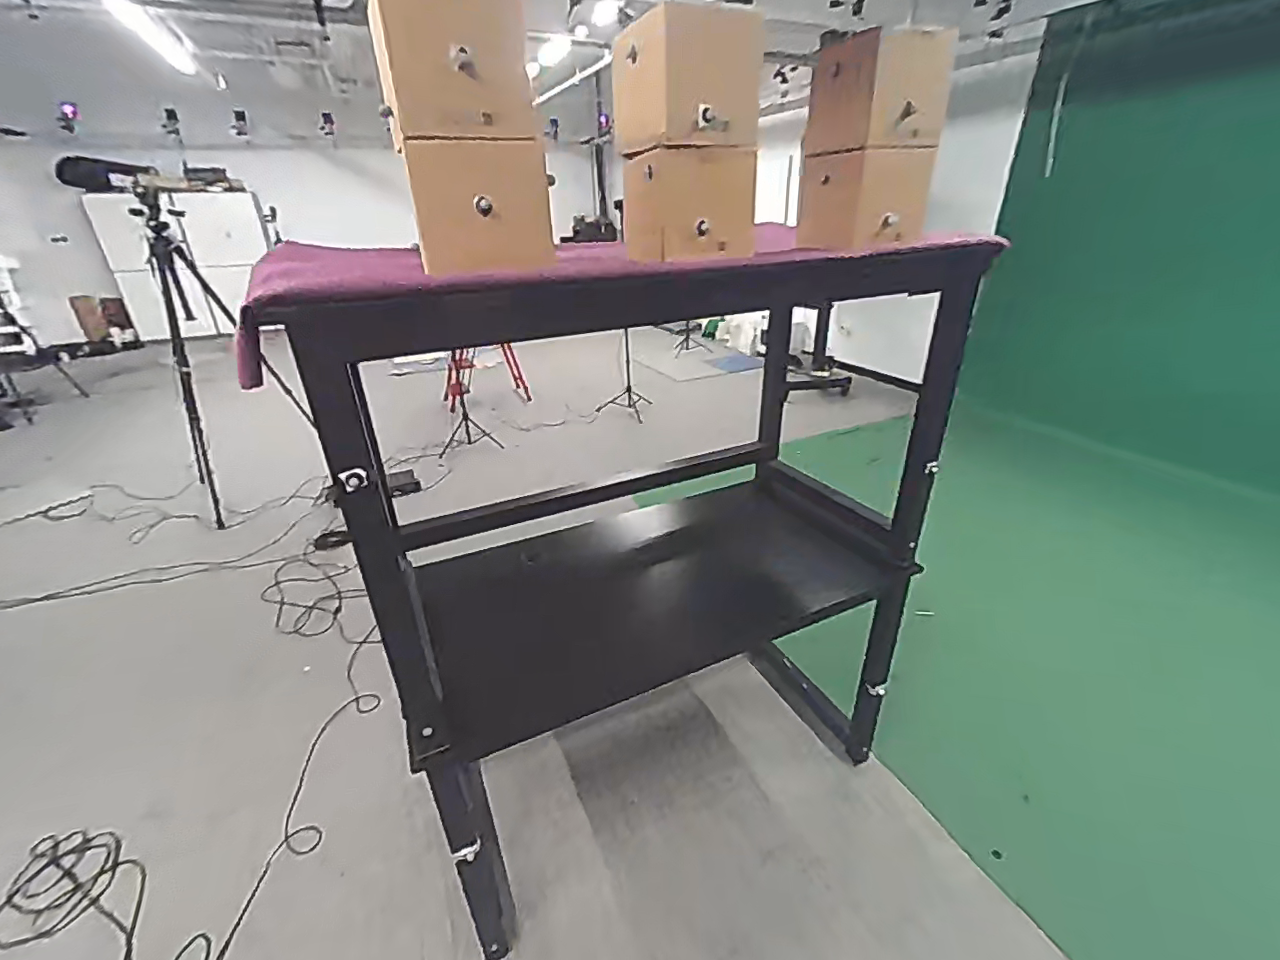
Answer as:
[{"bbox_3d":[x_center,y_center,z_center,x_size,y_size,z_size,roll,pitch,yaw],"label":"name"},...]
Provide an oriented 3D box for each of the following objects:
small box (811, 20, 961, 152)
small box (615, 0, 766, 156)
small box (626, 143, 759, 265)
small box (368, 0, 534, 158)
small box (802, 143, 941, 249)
[{"bbox_3d":[0.427,-0.690,0.970,0.168,0.176,0.179,-12,29,-17],"label":"small box"},{"bbox_3d":[0.071,-0.600,0.833,0.168,0.176,0.179,-16,30,-22],"label":"small box"},{"bbox_3d":[0.081,-0.458,0.910,0.168,0.176,0.179,-12,28,-18],"label":"small box"},{"bbox_3d":[-0.245,-0.529,0.707,0.168,0.176,0.179,-14,28,-21],"label":"small box"},{"bbox_3d":[0.434,-0.542,1.043,0.168,0.176,0.179,-12,29,-17],"label":"small box"}]
